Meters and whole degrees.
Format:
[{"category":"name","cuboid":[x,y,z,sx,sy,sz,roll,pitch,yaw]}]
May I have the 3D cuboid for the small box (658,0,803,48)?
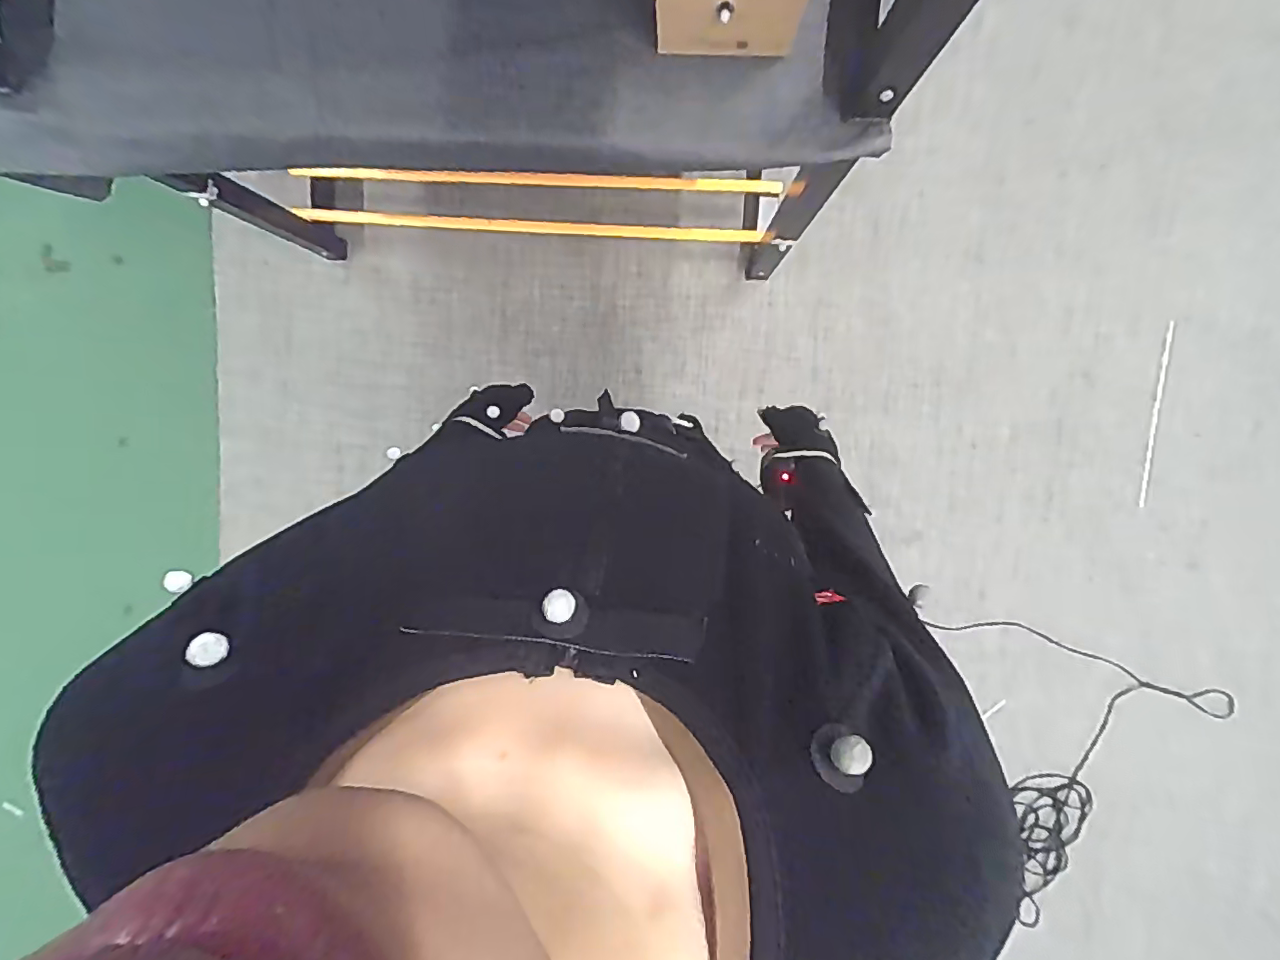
[{"category":"small box","cuboid":[0.106,-0.613,0.585,0.168,0.176,0.179,4,96,2]}]
